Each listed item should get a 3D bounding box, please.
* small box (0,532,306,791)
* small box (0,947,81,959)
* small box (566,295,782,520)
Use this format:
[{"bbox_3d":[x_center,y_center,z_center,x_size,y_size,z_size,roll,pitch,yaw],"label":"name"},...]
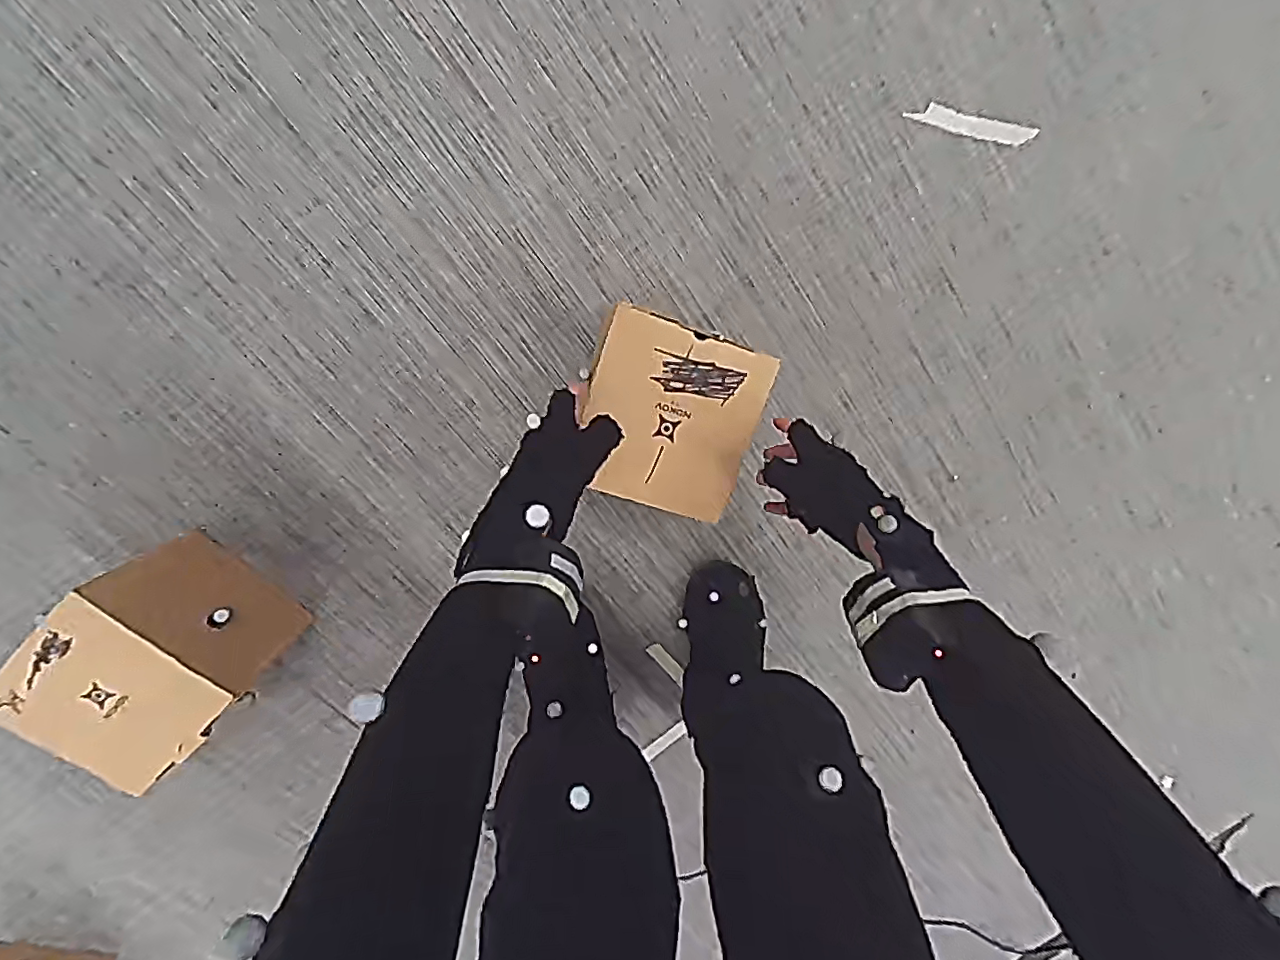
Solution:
[{"bbox_3d":[-0.521,0.186,0.598,0.168,0.176,0.179,-44,106,6],"label":"small box"},{"bbox_3d":[-0.858,0.772,0.716,0.168,0.176,0.179,15,103,-9],"label":"small box"},{"bbox_3d":[0.022,-0.083,0.587,0.168,0.176,0.179,17,103,-10],"label":"small box"}]
